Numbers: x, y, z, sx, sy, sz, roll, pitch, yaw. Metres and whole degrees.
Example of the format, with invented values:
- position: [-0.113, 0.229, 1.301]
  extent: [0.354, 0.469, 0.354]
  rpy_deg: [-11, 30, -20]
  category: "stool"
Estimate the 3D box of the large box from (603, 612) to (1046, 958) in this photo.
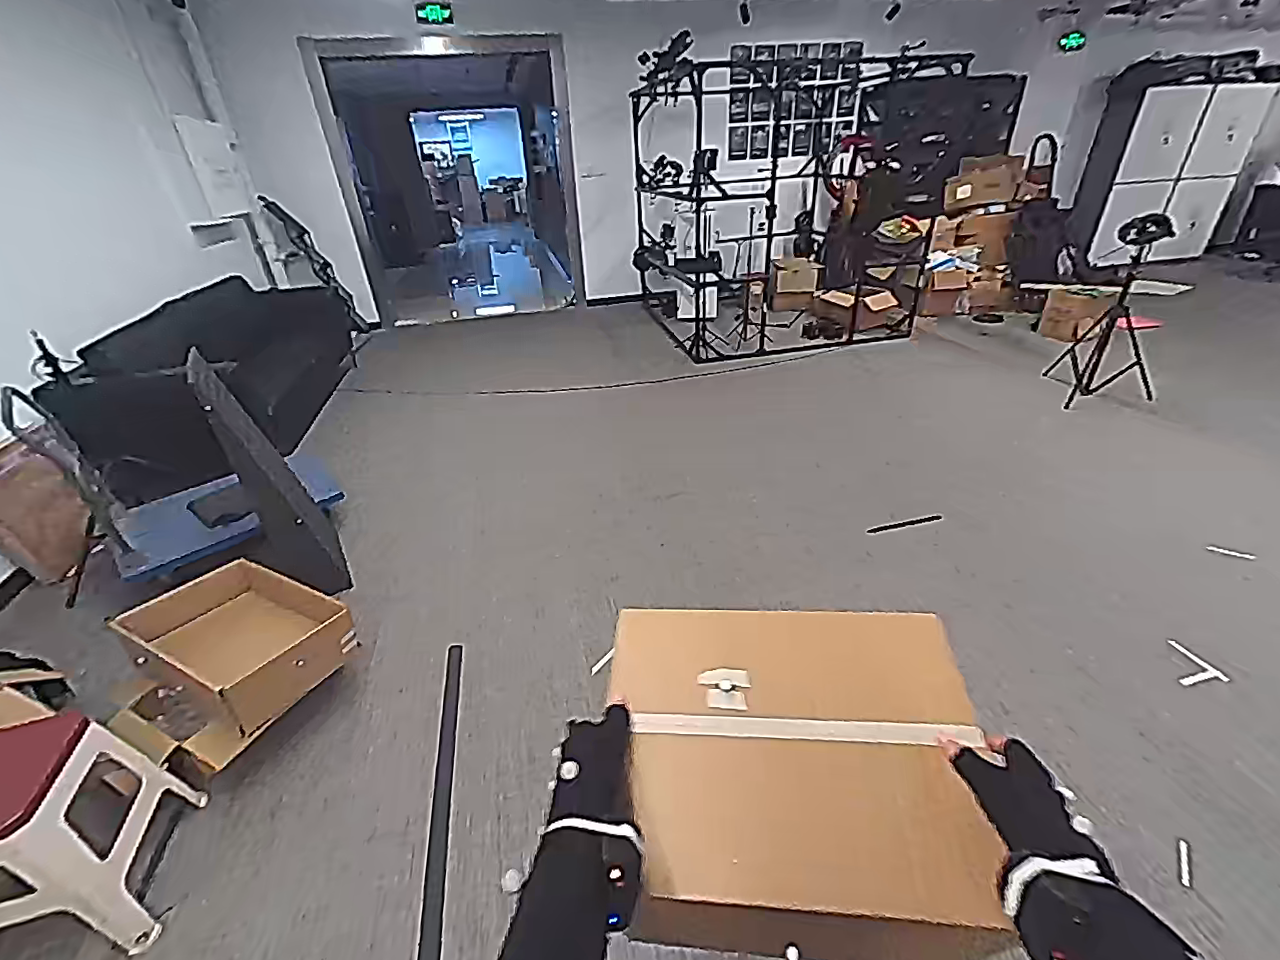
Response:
- position: [0.193, 0.388, 0.704]
  extent: [0.408, 0.320, 0.320]
  rpy_deg: [-1, 42, 9]
  category: "large box"
